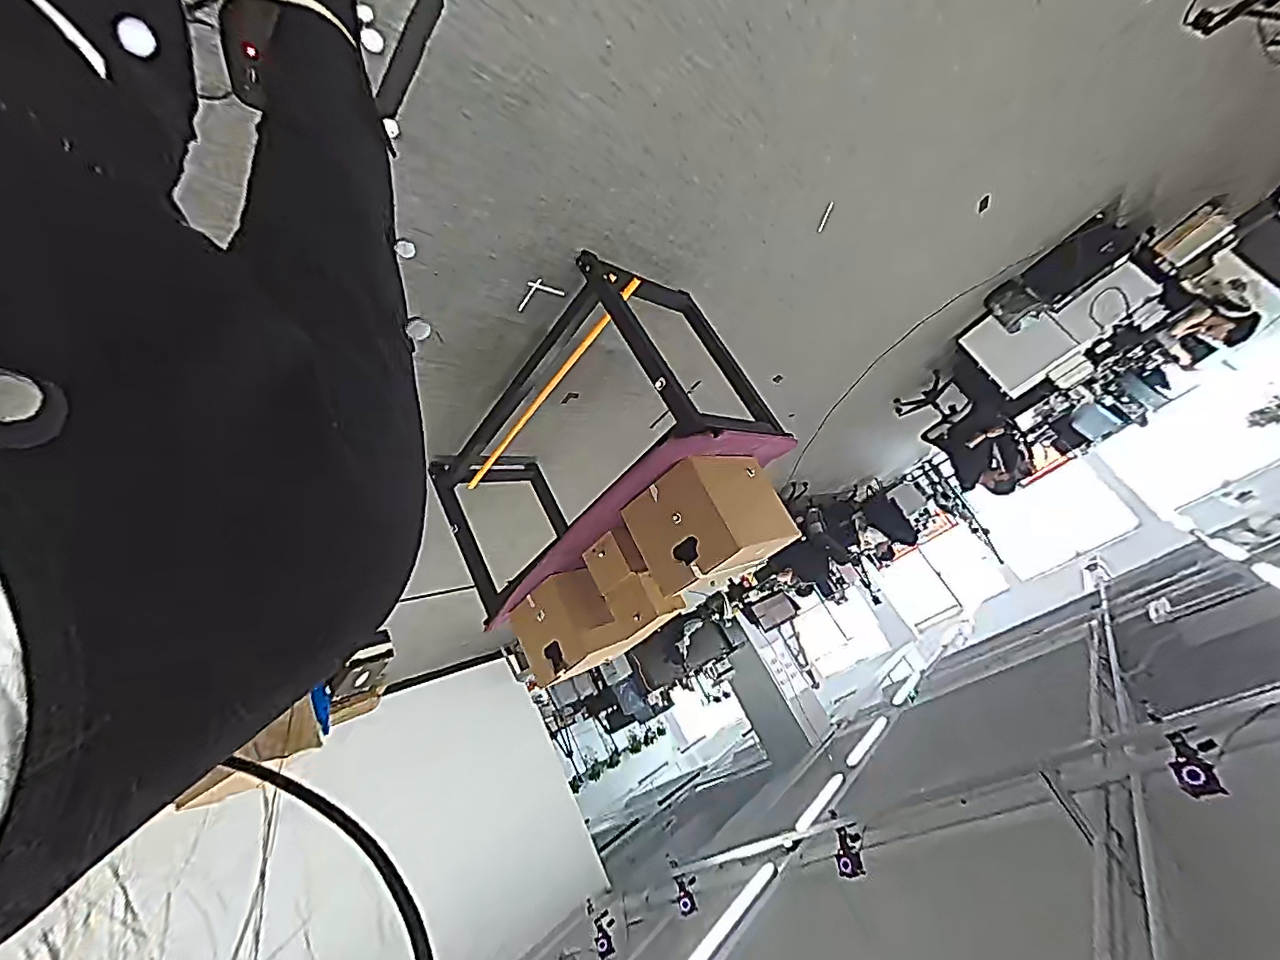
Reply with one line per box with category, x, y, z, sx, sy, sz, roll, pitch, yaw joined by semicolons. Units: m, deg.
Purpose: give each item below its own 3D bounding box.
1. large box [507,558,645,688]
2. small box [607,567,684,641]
large box;-0.225;0.532;2.065;0.320;0.320;0.408;-42;157;32
small box;0.010;0.414;1.828;0.179;0.176;0.168;-43;155;30
